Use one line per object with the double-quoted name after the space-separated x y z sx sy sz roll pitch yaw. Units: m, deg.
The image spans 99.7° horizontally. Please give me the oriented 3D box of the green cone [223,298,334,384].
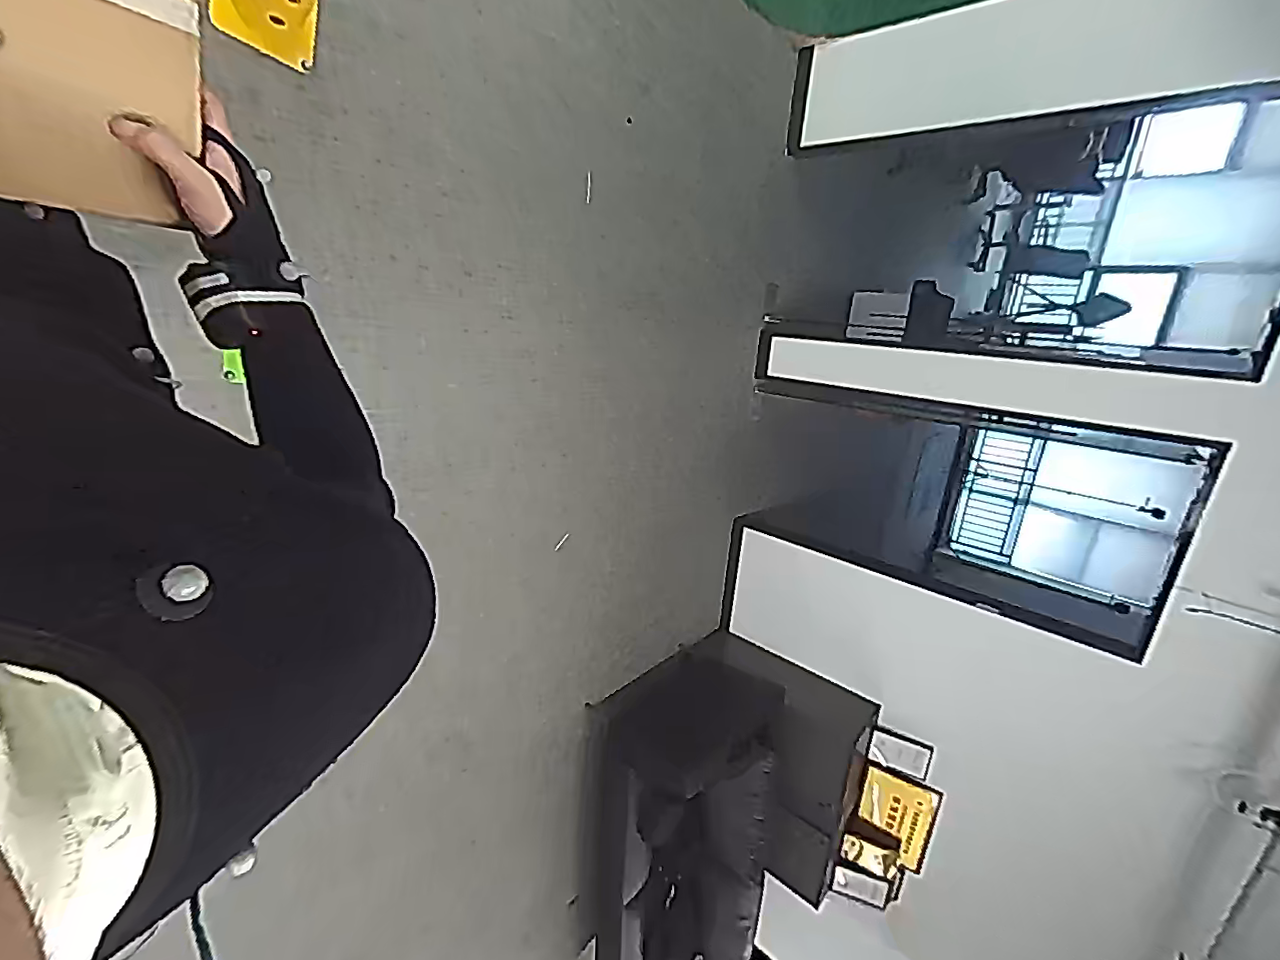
-0.815 -0.310 1.279 0.200 0.368 0.202 -6 108 -50 "green cone"
